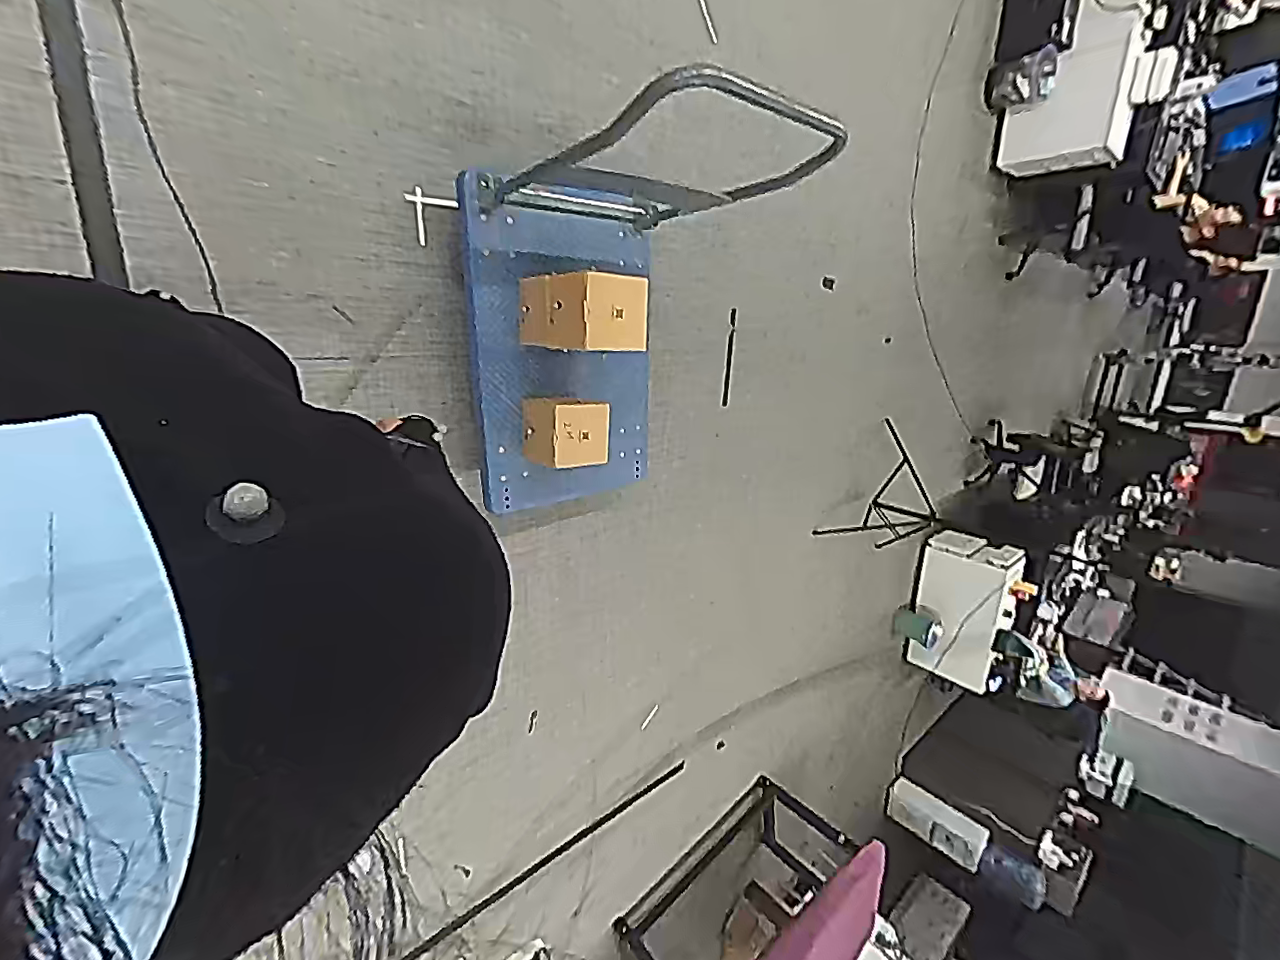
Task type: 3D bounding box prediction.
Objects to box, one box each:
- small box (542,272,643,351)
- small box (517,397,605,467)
[{"bbox_3d":[-0.114,-0.395,1.277,0.179,0.176,0.168,-11,110,-39],"label":"small box"},{"bbox_3d":[-0.218,-0.137,1.485,0.179,0.176,0.168,-8,108,-41],"label":"small box"}]
